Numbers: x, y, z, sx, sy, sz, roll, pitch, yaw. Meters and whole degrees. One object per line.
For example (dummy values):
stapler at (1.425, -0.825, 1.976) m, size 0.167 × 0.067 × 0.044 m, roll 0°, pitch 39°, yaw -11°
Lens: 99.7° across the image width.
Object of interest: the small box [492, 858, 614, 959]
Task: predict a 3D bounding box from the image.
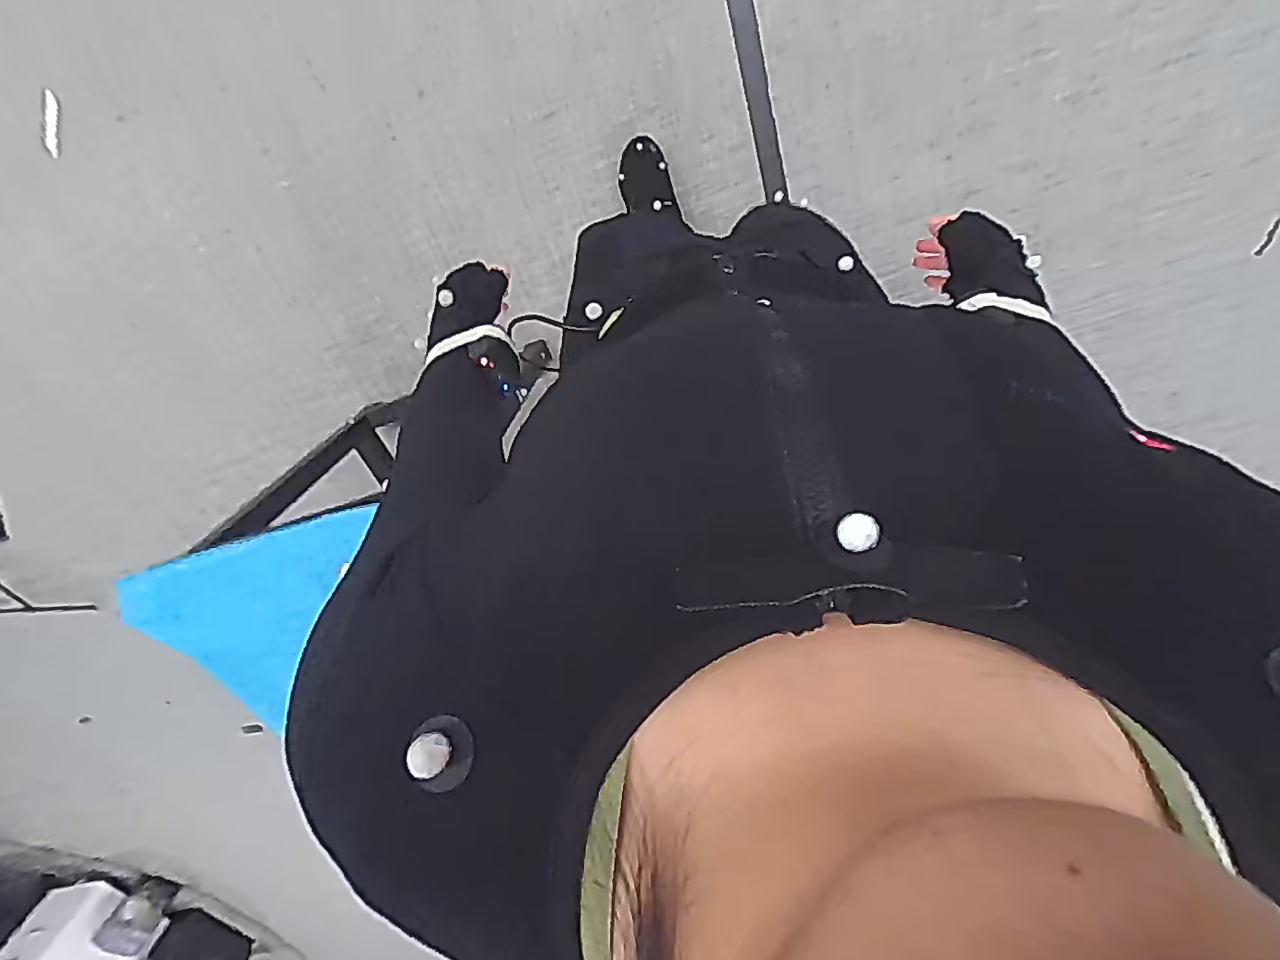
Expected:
small box at (-0.156, 0.843, 1.010) m, size 0.179 × 0.176 × 0.168 m, roll -10°, pitch 120°, yaw 7°

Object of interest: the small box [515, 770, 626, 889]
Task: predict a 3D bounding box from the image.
small box at (-0.140, 0.750, 1.145) m, size 0.179 × 0.176 × 0.168 m, roll -12°, pitch 119°, yaw 10°
